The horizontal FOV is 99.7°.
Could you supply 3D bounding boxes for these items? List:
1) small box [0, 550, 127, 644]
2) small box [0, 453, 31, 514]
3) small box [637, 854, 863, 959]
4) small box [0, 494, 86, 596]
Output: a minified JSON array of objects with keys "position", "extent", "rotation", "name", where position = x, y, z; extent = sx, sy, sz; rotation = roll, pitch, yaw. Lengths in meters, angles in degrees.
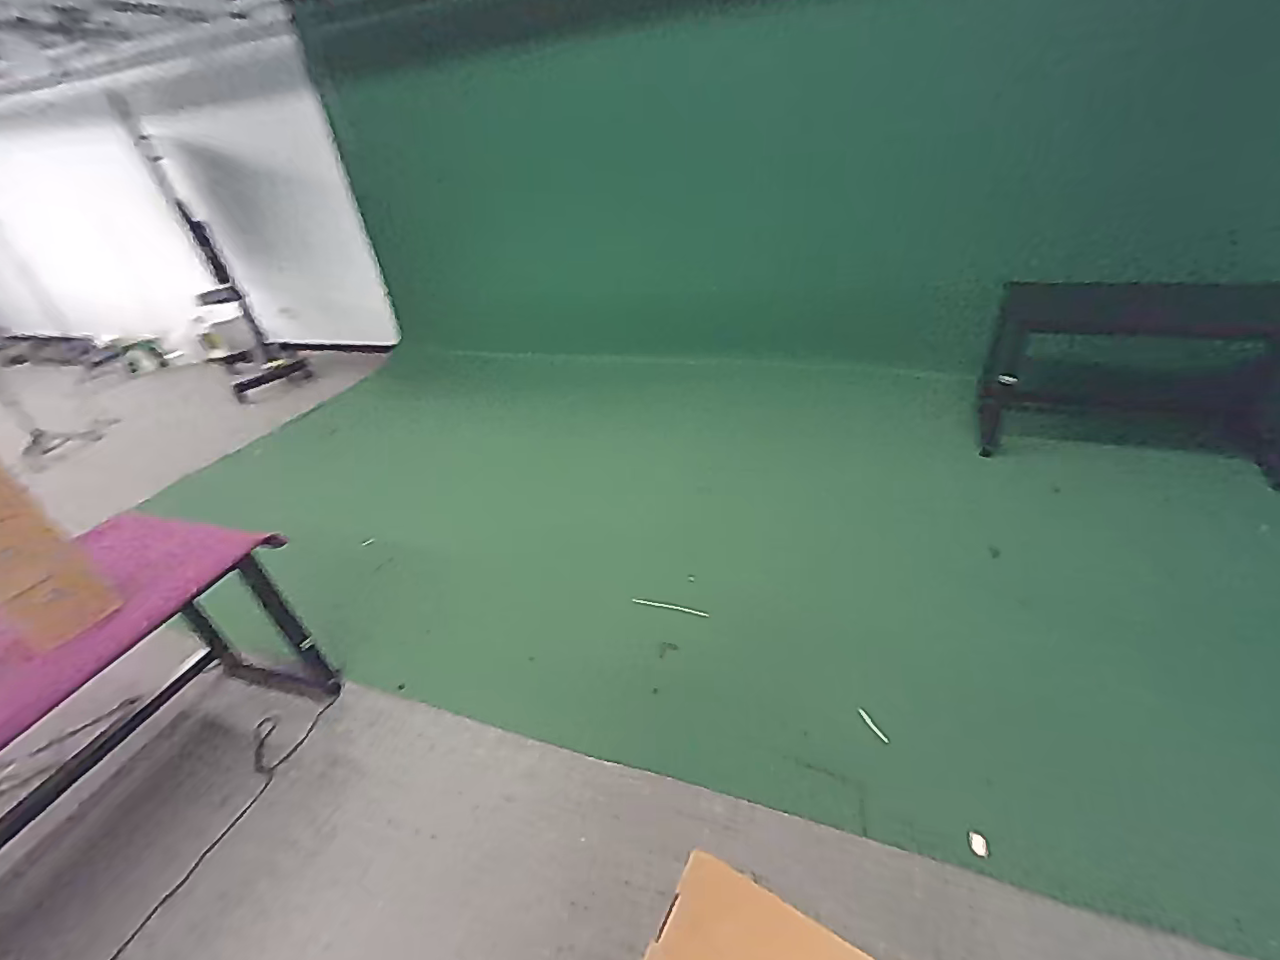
[{"position":[-1.452,0.274,1.343],"extent":[0.168,0.176,0.179],"rotation":[13,39,27],"name":"small box"},{"position":[-1.486,0.004,1.159],"extent":[0.168,0.176,0.179],"rotation":[10,39,24],"name":"small box"},{"position":[0.068,0.389,0.338],"extent":[0.179,0.176,0.168],"rotation":[18,41,24],"name":"small box"},{"position":[-1.468,0.140,1.251],"extent":[0.168,0.176,0.179],"rotation":[12,40,24],"name":"small box"}]
